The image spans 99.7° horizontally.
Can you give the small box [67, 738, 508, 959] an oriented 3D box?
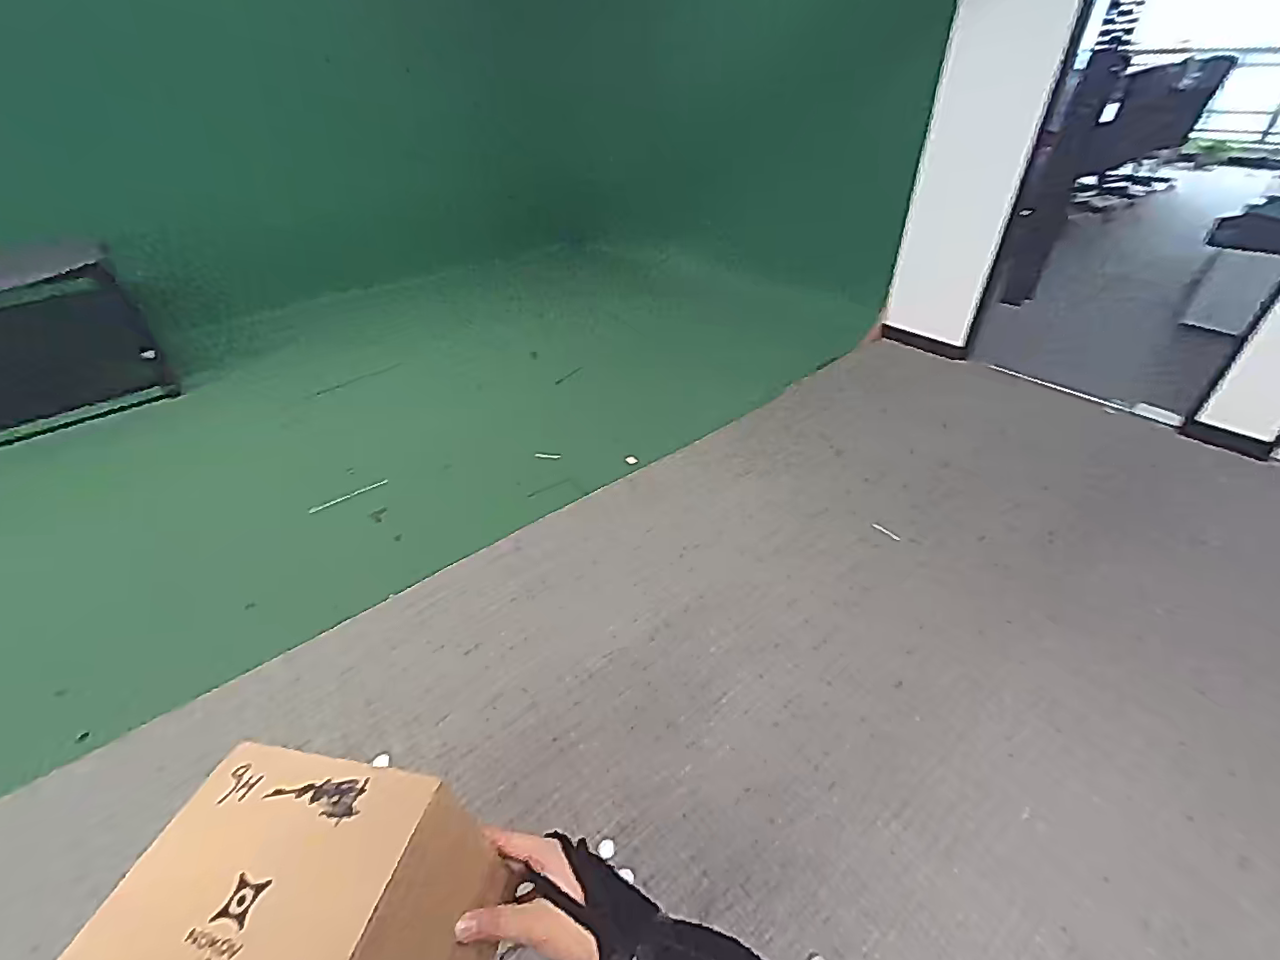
[{"bbox_3d":[-0.205,0.298,0.341,0.168,0.176,0.179,1,38,16],"label":"small box"}]
